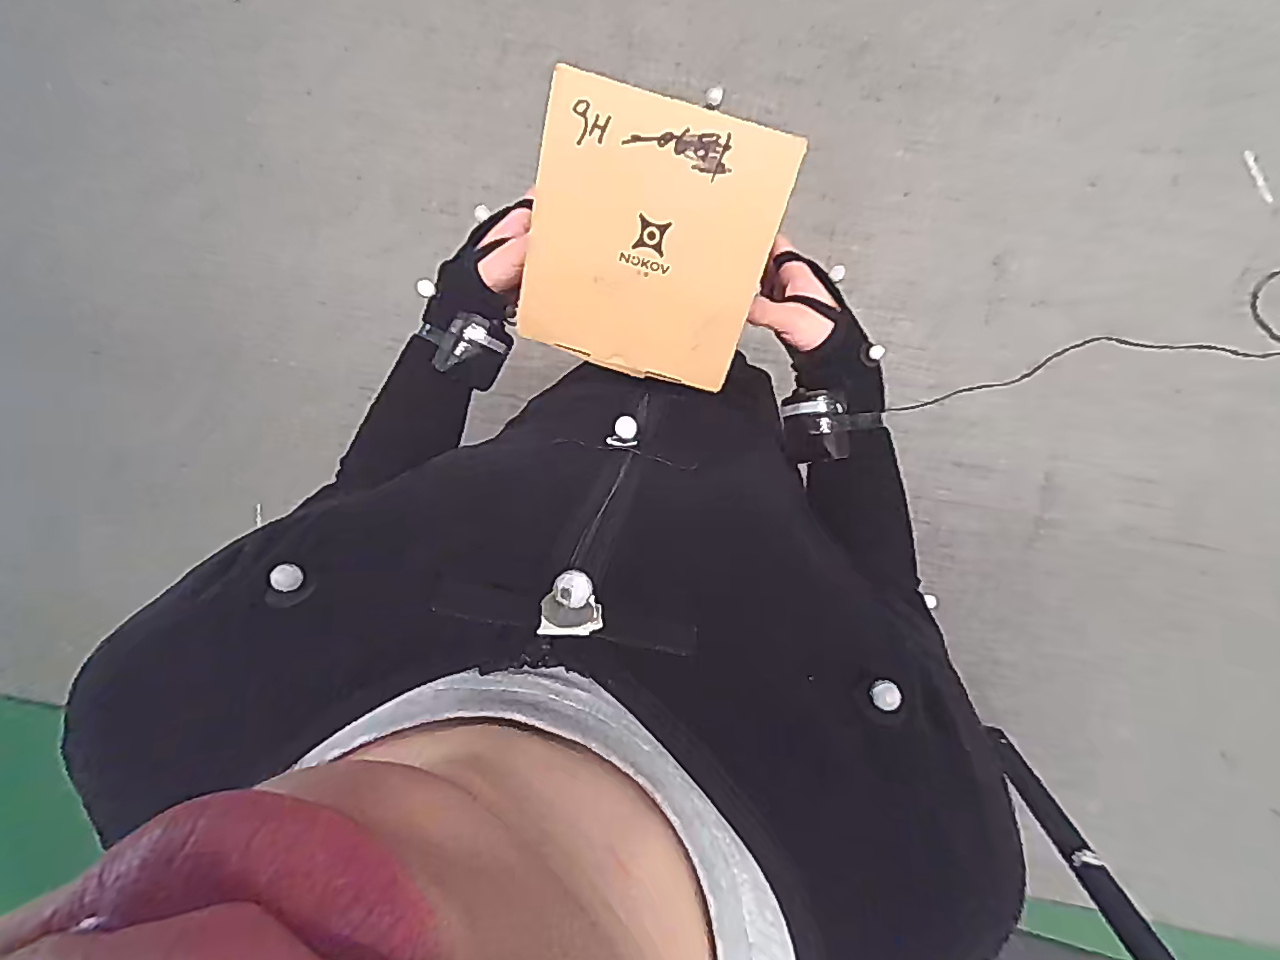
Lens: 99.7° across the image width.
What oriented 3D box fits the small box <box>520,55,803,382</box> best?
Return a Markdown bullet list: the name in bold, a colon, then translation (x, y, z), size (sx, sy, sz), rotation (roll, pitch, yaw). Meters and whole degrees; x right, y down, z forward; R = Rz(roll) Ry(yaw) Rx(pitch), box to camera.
- **small box**: translation (0.013, -0.209, 0.445), size (0.168, 0.176, 0.179), rotation (14, 121, -4)
